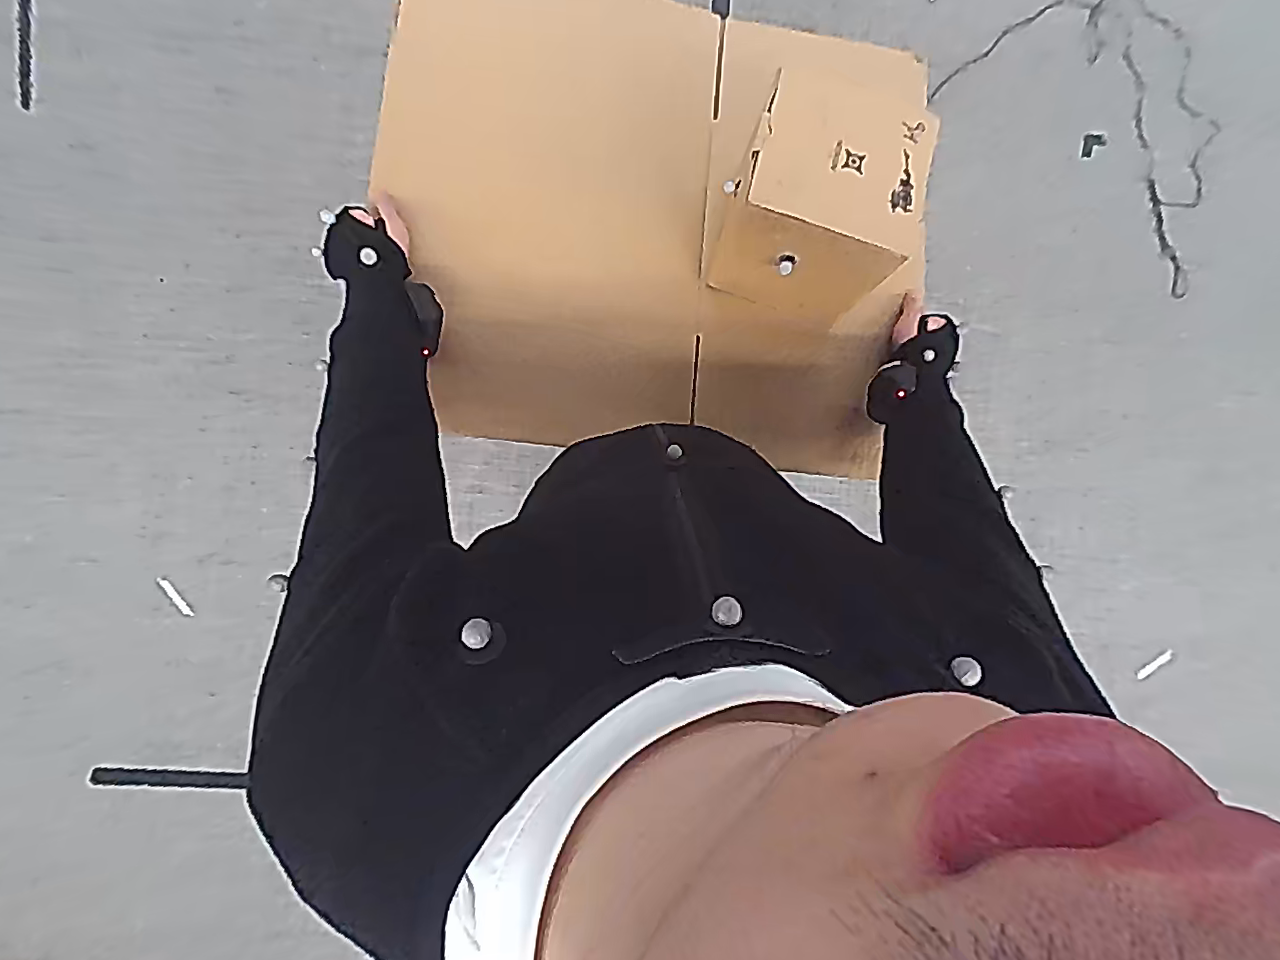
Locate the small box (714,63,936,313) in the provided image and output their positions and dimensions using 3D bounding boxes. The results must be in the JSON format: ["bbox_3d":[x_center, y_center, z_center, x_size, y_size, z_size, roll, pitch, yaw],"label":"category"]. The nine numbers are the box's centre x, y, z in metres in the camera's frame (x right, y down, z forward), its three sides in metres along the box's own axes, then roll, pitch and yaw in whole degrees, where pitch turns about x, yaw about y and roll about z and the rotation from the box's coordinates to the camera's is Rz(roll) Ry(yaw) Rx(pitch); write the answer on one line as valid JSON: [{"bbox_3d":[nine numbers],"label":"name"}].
[{"bbox_3d":[0.197,-0.318,0.625,0.179,0.176,0.168,16,82,-3],"label":"small box"}]
